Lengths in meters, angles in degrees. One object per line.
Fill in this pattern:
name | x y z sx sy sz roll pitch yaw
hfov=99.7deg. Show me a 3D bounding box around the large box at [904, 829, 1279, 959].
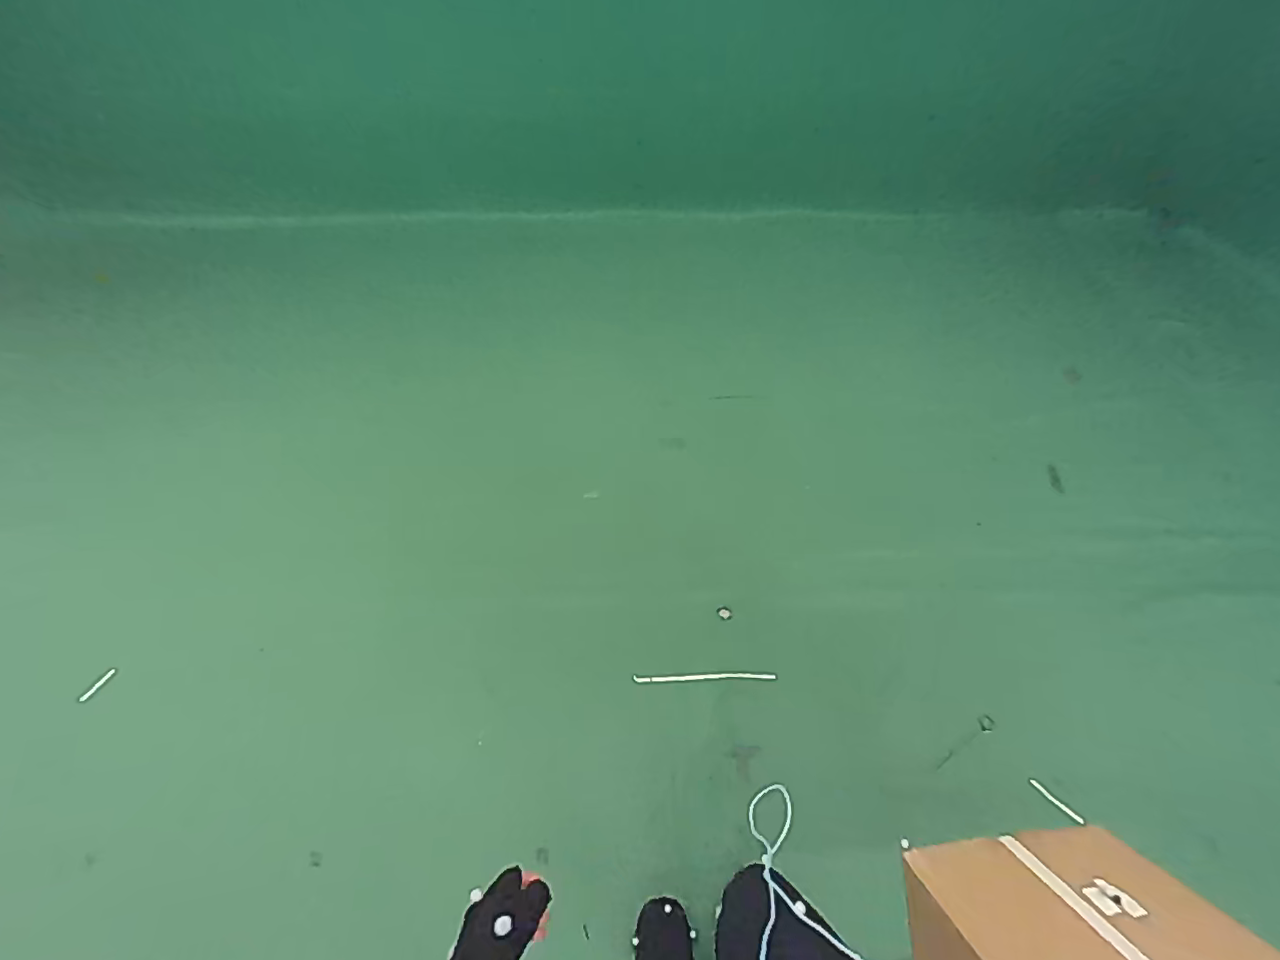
large box | 0.571 0.693 0.618 0.320 0.408 0.320 -5 89 -2
